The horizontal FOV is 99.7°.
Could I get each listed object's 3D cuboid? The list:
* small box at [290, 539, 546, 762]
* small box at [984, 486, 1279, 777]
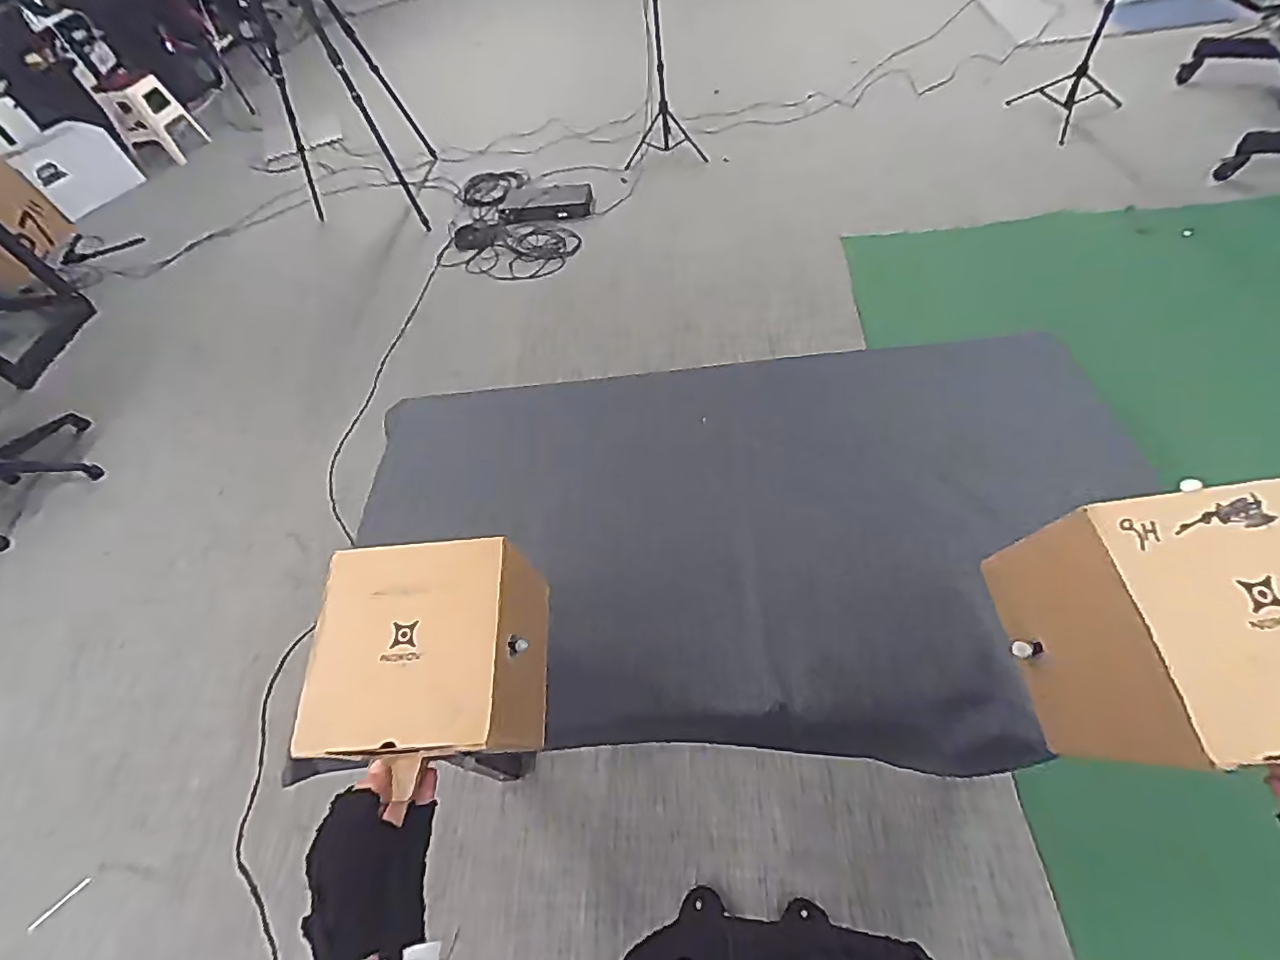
[{"bbox_3d":[-0.192,0.173,0.529,0.168,0.176,0.179,-5,62,3],"label":"small box"},{"bbox_3d":[0.422,0.121,0.433,0.168,0.176,0.179,-8,67,1],"label":"small box"}]
